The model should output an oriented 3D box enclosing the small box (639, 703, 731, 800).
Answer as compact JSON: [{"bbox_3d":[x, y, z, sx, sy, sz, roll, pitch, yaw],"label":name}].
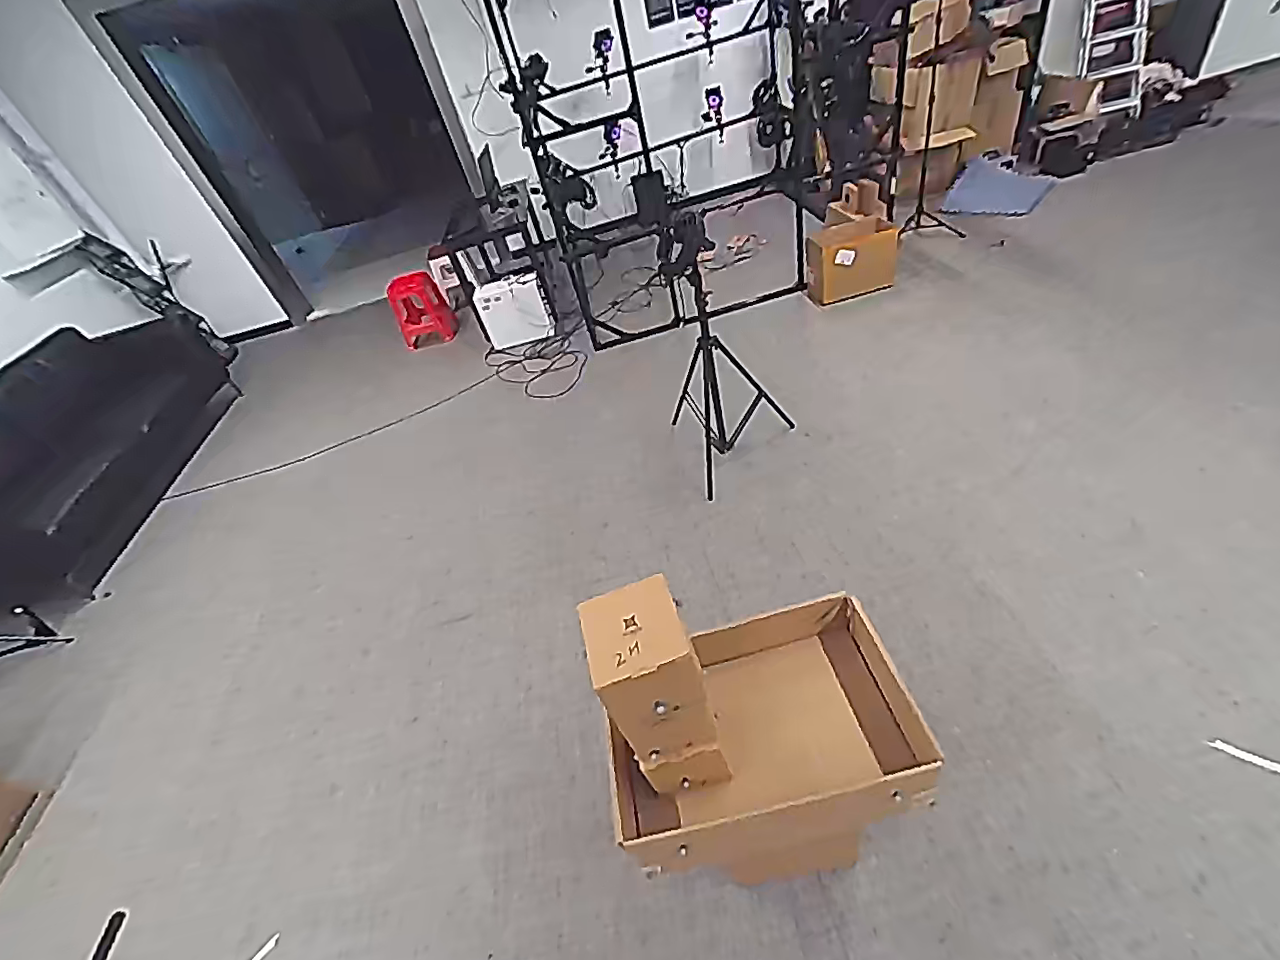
[{"bbox_3d":[0.085,0.550,1.161,0.168,0.176,0.179,-18,41,2],"label":"small box"}]

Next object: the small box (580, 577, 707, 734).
[{"bbox_3d":[0.006,0.309,0.953,0.168,0.176,0.179,-20,41,-1],"label":"small box"}]

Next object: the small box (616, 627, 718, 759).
[{"bbox_3d":[0.045,0.423,1.065,0.168,0.176,0.179,-17,40,2],"label":"small box"}]
